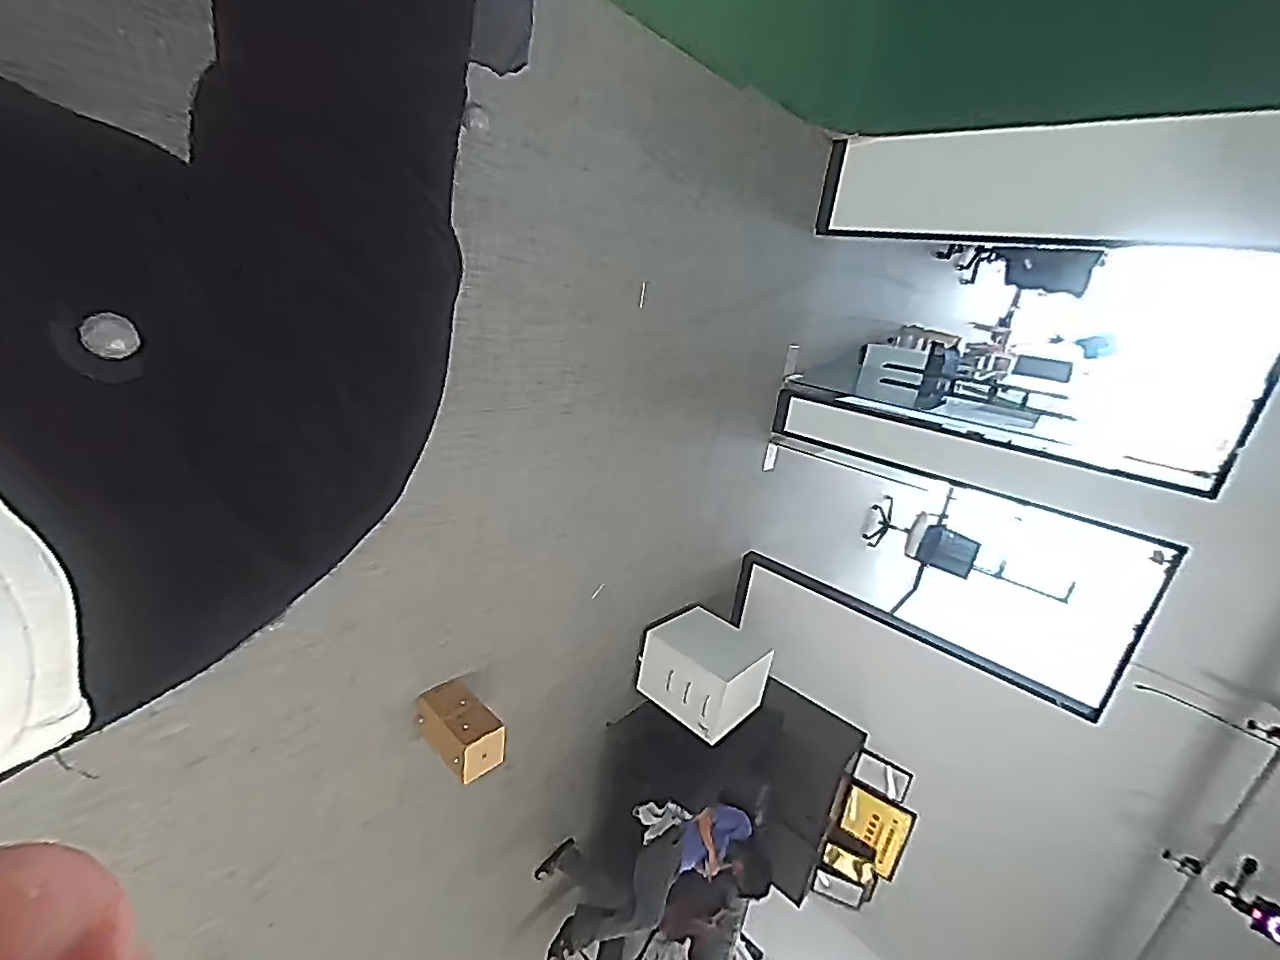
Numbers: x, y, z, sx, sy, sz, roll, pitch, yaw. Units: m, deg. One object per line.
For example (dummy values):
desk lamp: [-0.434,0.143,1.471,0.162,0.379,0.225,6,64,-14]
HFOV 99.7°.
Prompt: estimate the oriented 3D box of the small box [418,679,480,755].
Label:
small box: [-0.741,0.908,2.085,0.168,0.176,0.179,-12,118,-49]

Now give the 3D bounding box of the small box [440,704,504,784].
small box: [-0.620,0.959,1.990,0.168,0.176,0.179,-15,121,-47]
